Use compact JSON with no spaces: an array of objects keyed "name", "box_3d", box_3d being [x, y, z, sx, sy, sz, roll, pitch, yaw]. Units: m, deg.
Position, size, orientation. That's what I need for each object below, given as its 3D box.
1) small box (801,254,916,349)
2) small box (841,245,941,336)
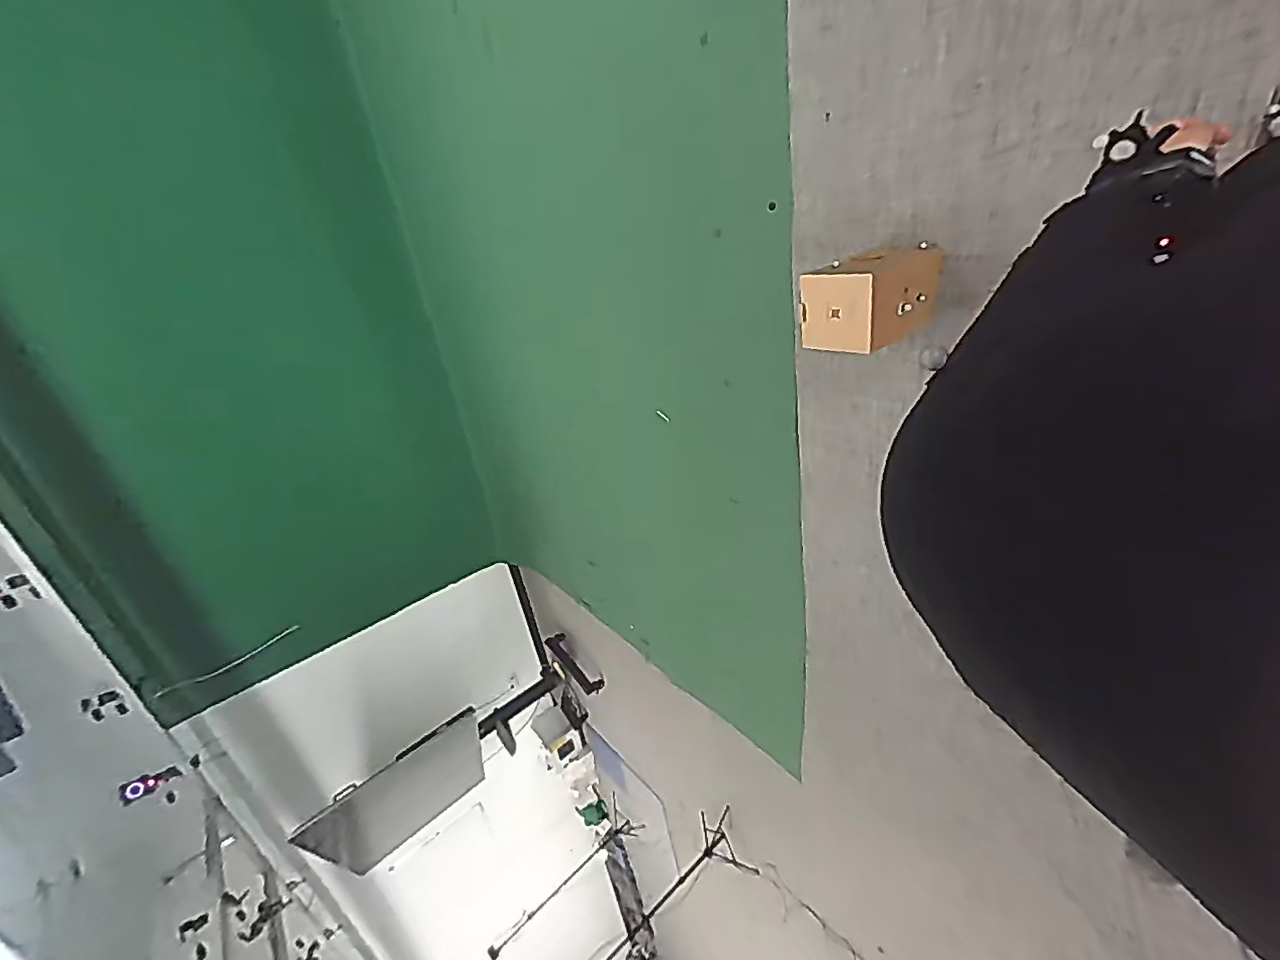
[{"name":"small box","box_3d":[0.482,-0.400,1.204,0.179,0.176,0.168,21,131,47]},{"name":"small box","box_3d":[0.598,-0.462,1.301,0.168,0.176,0.179,25,133,46]}]
